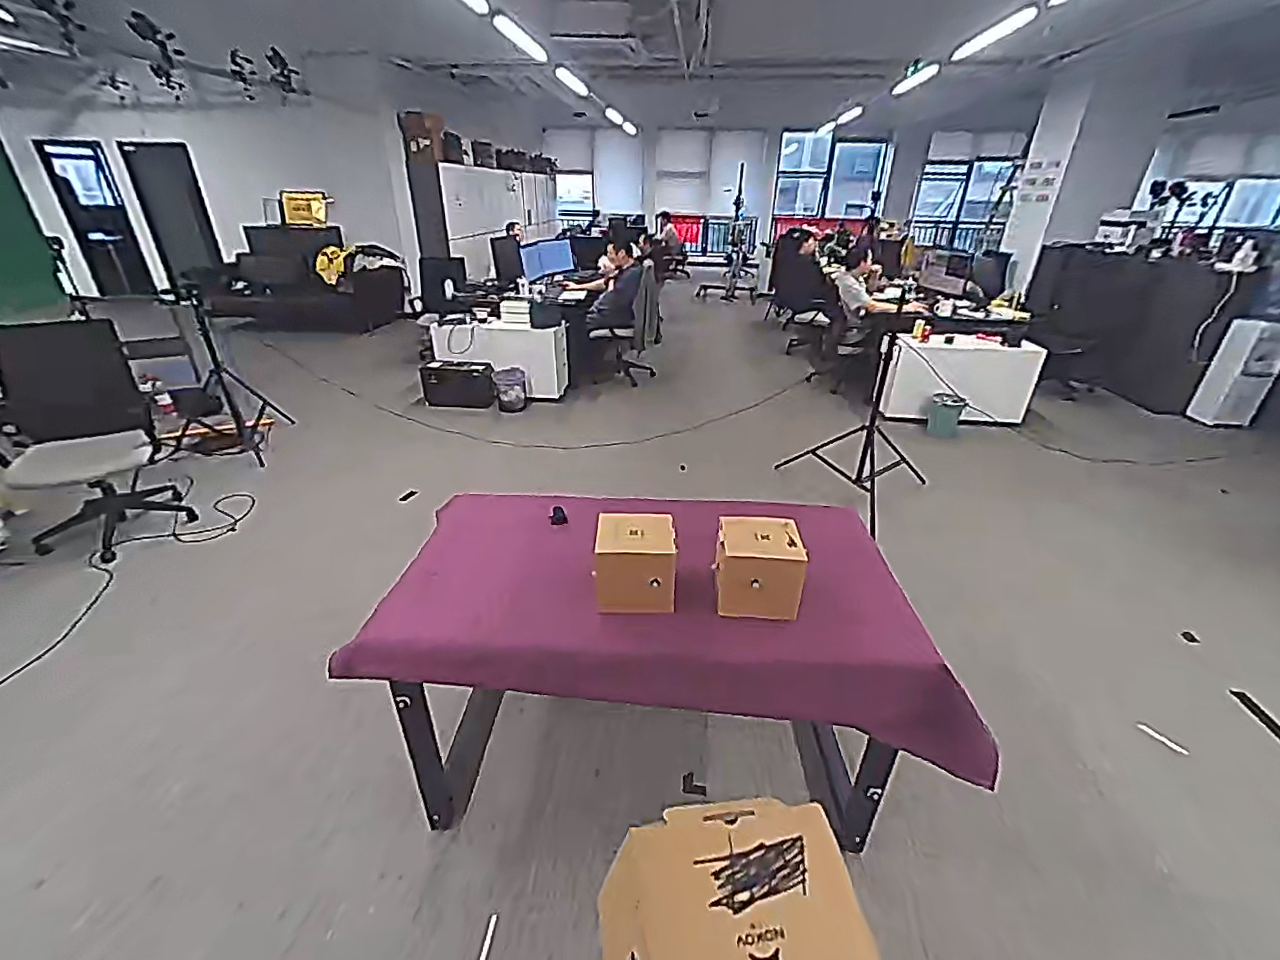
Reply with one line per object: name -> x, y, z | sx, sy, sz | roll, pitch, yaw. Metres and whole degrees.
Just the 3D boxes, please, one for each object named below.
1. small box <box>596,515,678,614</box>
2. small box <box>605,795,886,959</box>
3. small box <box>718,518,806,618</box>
small box -> -0.008, 0.196, 1.254 | 0.179, 0.176, 0.168 | -1, 26, -1
small box -> 0.072, 0.378, 0.416 | 0.168, 0.176, 0.179 | 1, 39, -14
small box -> 0.272, 0.201, 1.245 | 0.179, 0.176, 0.168 | 1, 28, 3
